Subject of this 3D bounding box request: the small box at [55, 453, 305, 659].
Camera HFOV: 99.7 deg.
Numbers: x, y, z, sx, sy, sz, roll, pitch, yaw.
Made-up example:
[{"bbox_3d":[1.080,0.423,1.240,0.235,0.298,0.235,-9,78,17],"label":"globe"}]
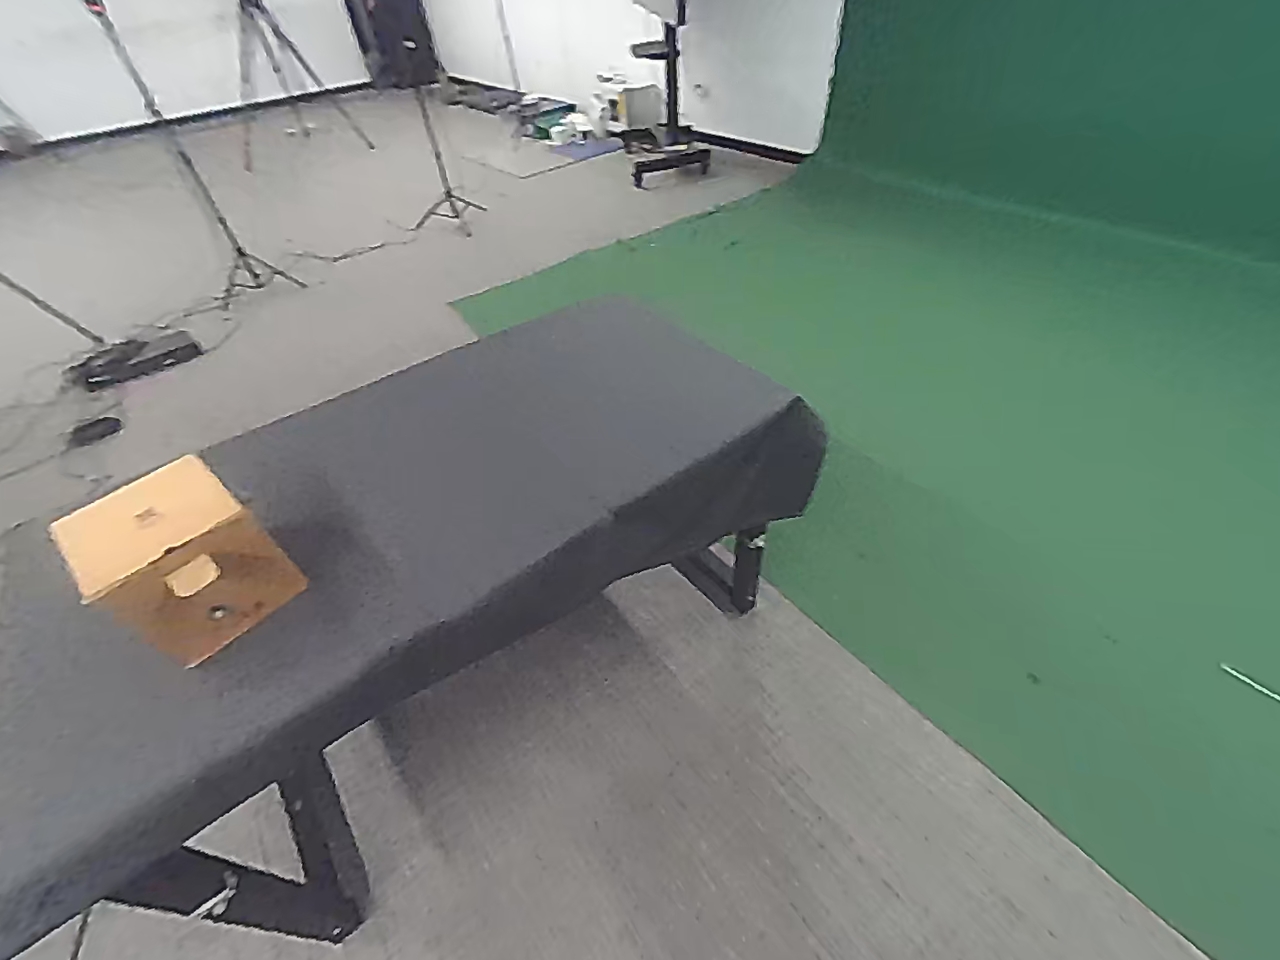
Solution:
[{"bbox_3d":[-0.592,0.100,0.714,0.179,0.176,0.168,29,54,29],"label":"small box"}]
